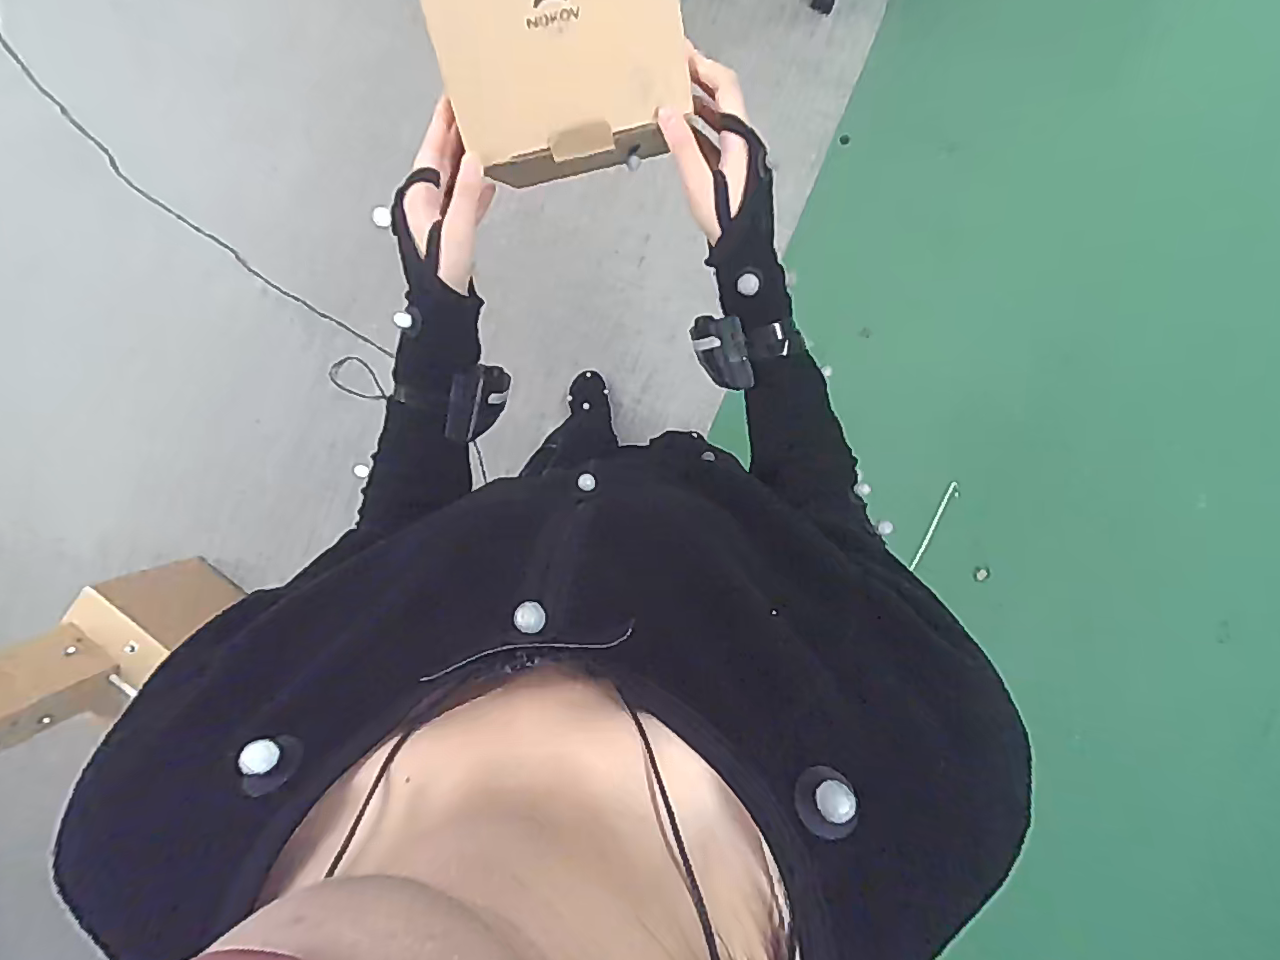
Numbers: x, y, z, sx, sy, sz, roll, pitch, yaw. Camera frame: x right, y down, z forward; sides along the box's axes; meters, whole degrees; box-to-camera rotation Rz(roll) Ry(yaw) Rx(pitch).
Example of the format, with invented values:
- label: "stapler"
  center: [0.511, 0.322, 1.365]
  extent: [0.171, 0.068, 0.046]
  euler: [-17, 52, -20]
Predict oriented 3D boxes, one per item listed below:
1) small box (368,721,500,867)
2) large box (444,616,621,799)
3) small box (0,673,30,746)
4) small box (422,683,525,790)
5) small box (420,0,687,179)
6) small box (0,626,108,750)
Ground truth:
- label: "small box"
  center: [-0.387, 0.590, 1.039]
  extent: [0.179, 0.176, 0.168]
  euler: [9, 96, 2]
- label: "large box"
  center: [-0.277, 0.581, 1.443]
  extent: [0.408, 0.320, 0.320]
  euler: [8, 97, 2]
- label: "small box"
  center: [-1.449, 0.495, 1.112]
  extent: [0.179, 0.176, 0.168]
  euler: [42, 99, -1]
- label: "small box"
  center: [-0.375, 0.576, 1.202]
  extent: [0.179, 0.176, 0.168]
  euler: [13, 97, 3]
- label: "small box"
  center: [-0.061, -0.347, 0.420]
  extent: [0.168, 0.176, 0.179]
  euler: [-11, 114, 3]
- label: "small box"
  center: [-1.428, 0.482, 1.272]
  extent: [0.168, 0.176, 0.179]
  euler: [41, 99, -1]
